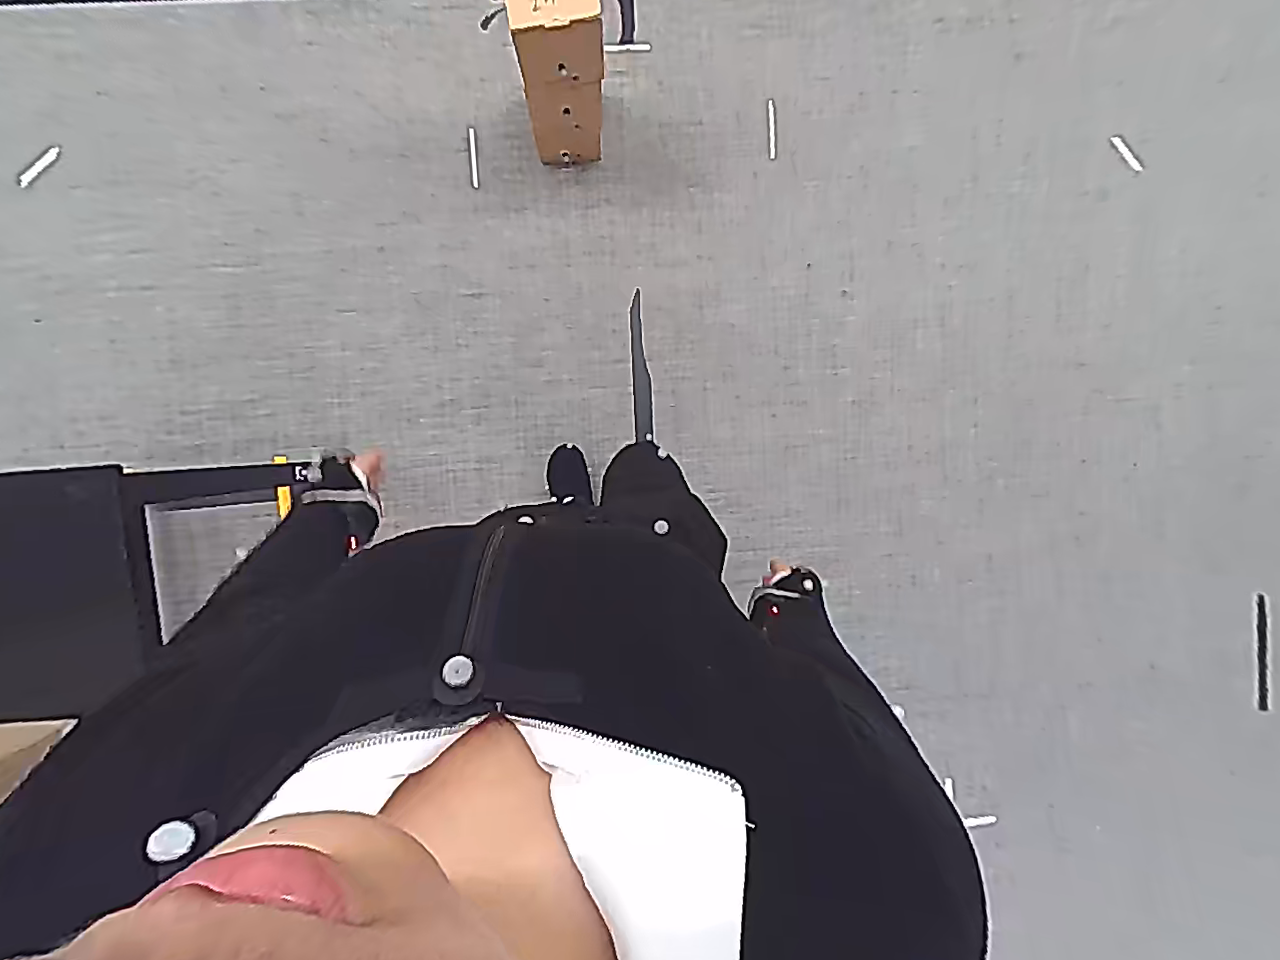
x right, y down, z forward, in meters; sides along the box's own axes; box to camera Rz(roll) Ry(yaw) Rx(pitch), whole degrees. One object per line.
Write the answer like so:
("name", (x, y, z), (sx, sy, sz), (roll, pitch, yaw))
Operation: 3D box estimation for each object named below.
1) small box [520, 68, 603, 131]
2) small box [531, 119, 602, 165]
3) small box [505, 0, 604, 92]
("small box", (-0.171, -0.895, 1.186), (0.168, 0.176, 0.179), (-5, 94, -2))
("small box", (-0.185, -0.922, 1.348), (0.168, 0.176, 0.179), (-6, 95, -2))
("small box", (-0.164, -0.884, 1.020), (0.168, 0.176, 0.179), (-10, 94, -1))
